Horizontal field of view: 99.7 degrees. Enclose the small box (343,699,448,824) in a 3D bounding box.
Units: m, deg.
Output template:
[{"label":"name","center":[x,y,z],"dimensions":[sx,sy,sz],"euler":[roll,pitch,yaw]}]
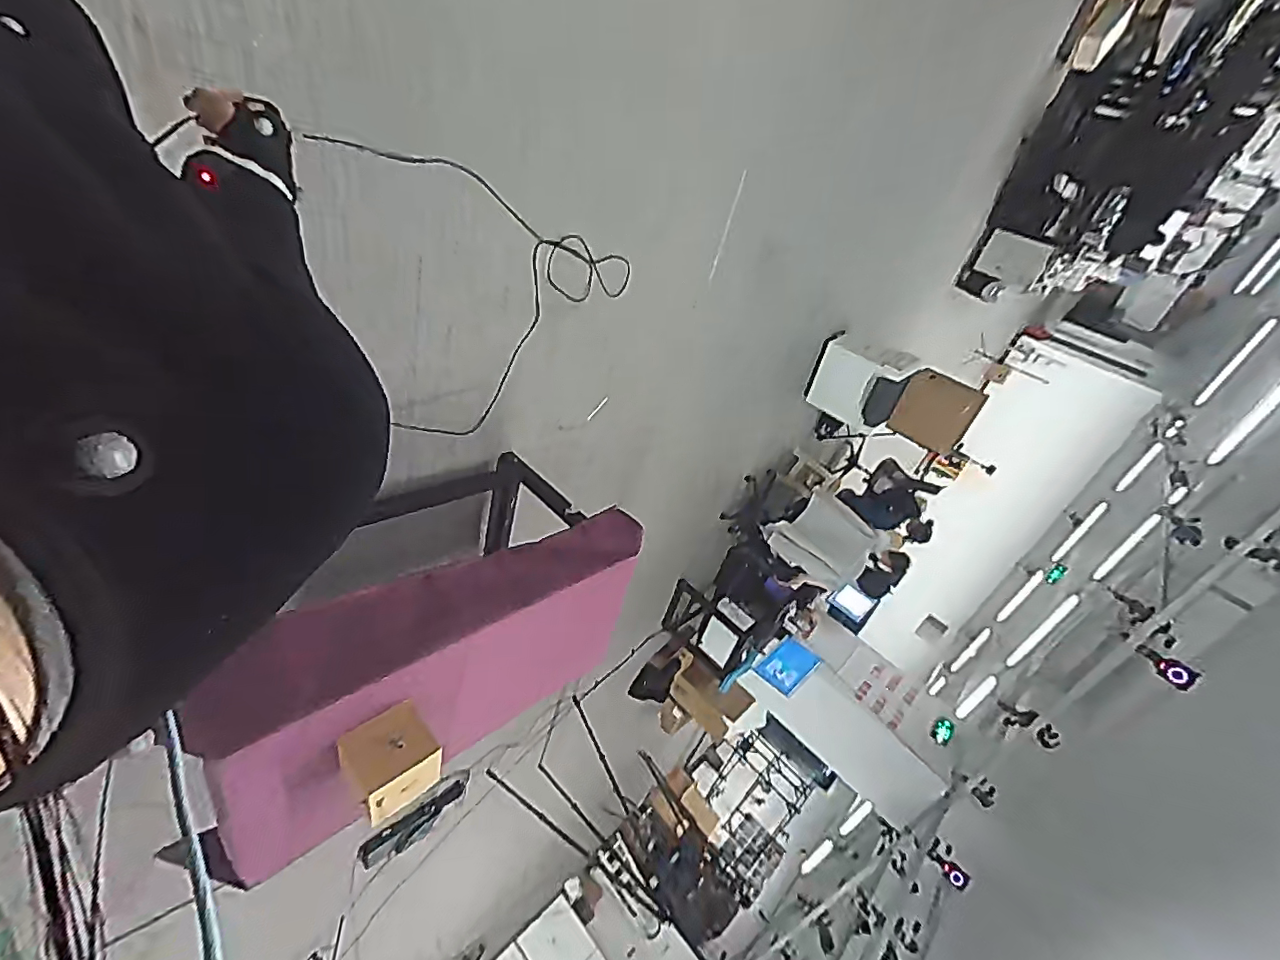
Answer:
[{"label":"small box","center":[-0.593,0.676,1.317],"dimensions":[0.179,0.176,0.168],"euler":[-23,140,-43]}]
